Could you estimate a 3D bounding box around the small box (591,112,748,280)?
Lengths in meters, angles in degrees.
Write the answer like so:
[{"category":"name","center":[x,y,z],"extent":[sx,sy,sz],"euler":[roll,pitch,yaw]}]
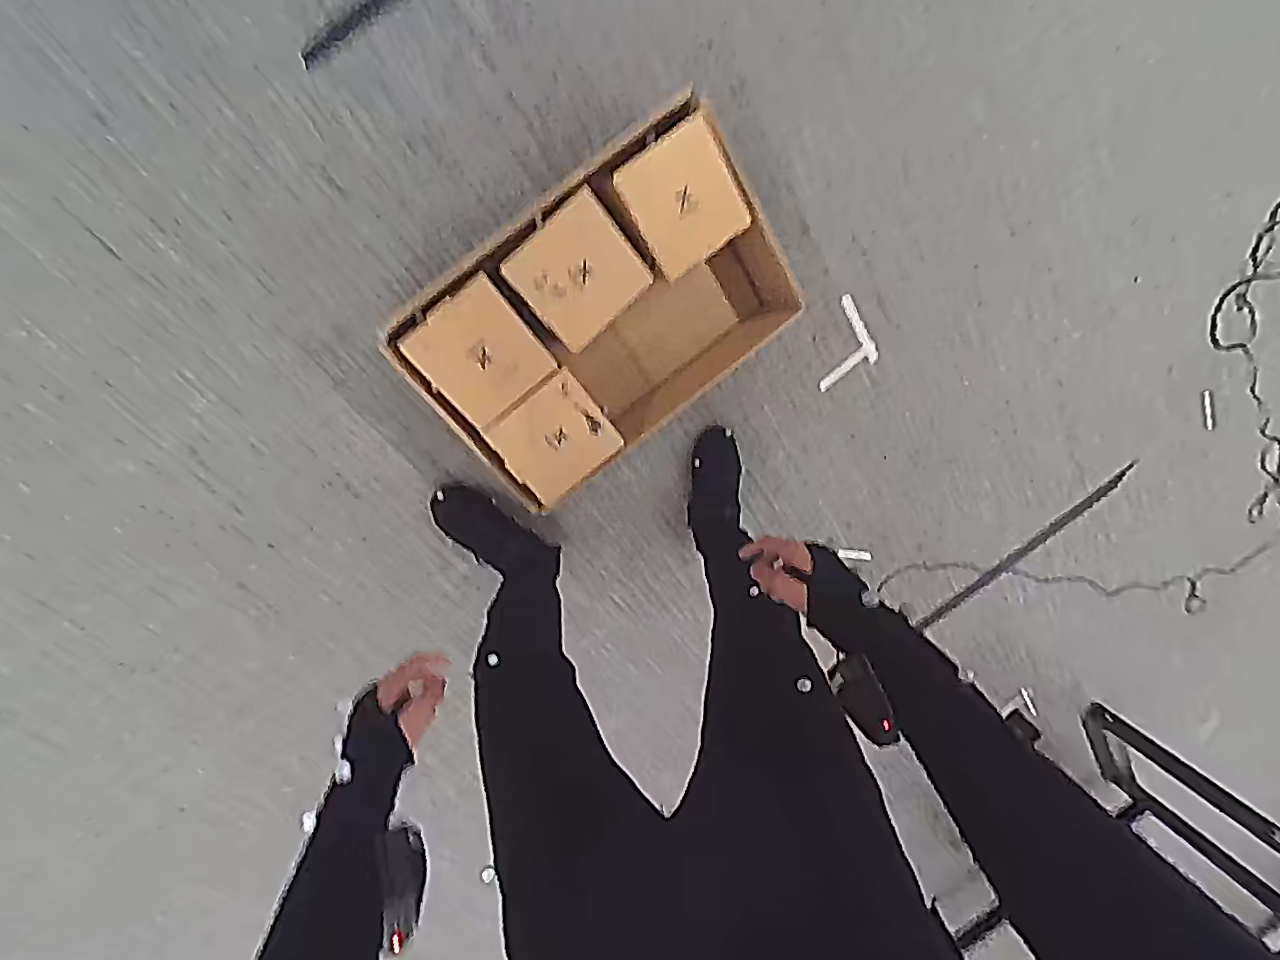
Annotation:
[{"category":"small box","center":[0.041,-0.453,0.889],"extent":[0.168,0.176,0.179],"euler":[-37,119,1]}]
